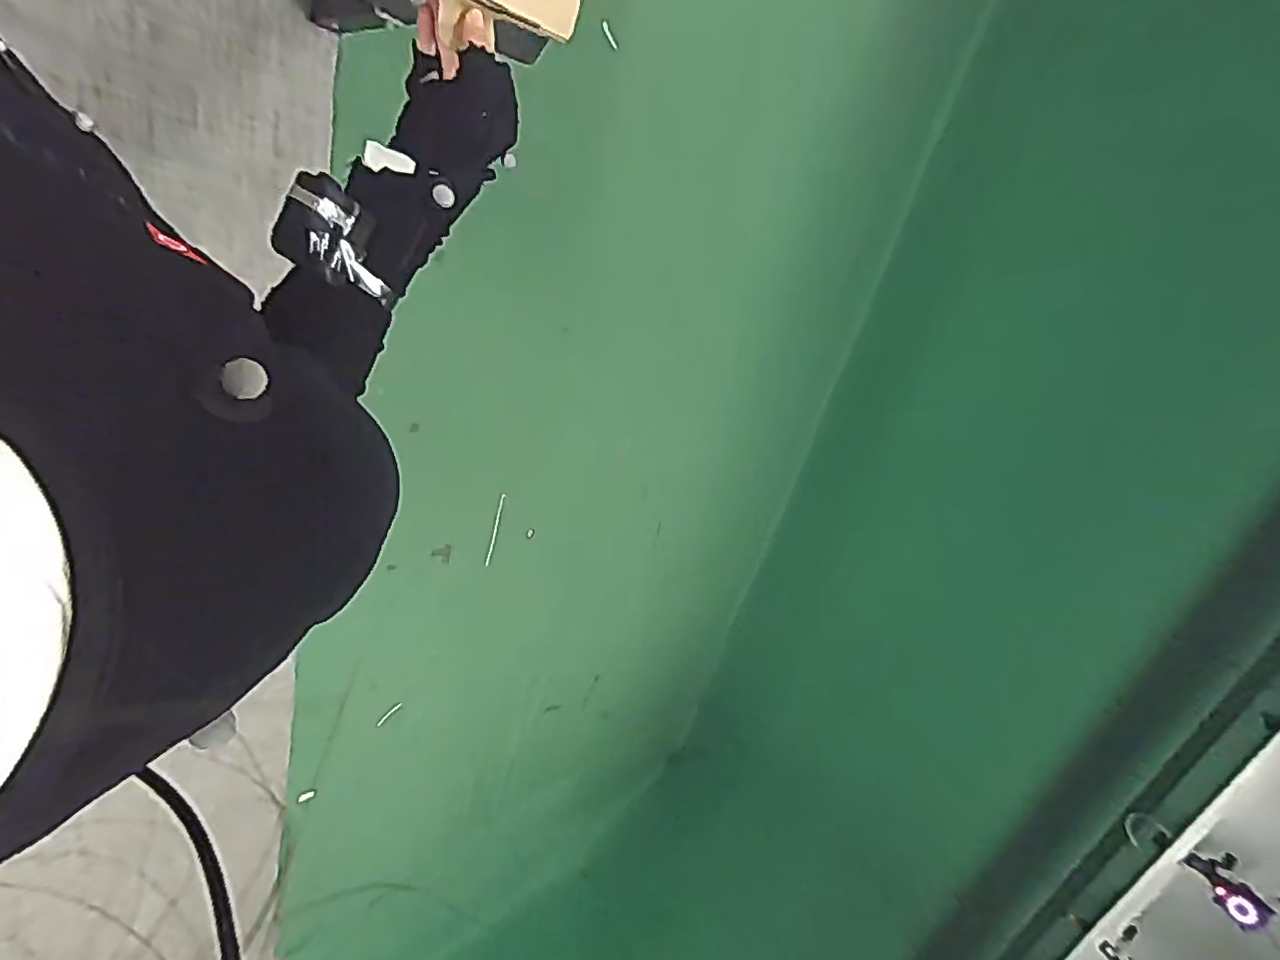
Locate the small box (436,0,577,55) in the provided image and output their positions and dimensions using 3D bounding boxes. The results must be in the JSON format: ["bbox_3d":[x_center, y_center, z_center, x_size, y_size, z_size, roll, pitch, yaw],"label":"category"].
[{"bbox_3d":[-0.139,-0.446,0.373,0.168,0.176,0.179,-17,141,-46],"label":"small box"}]
